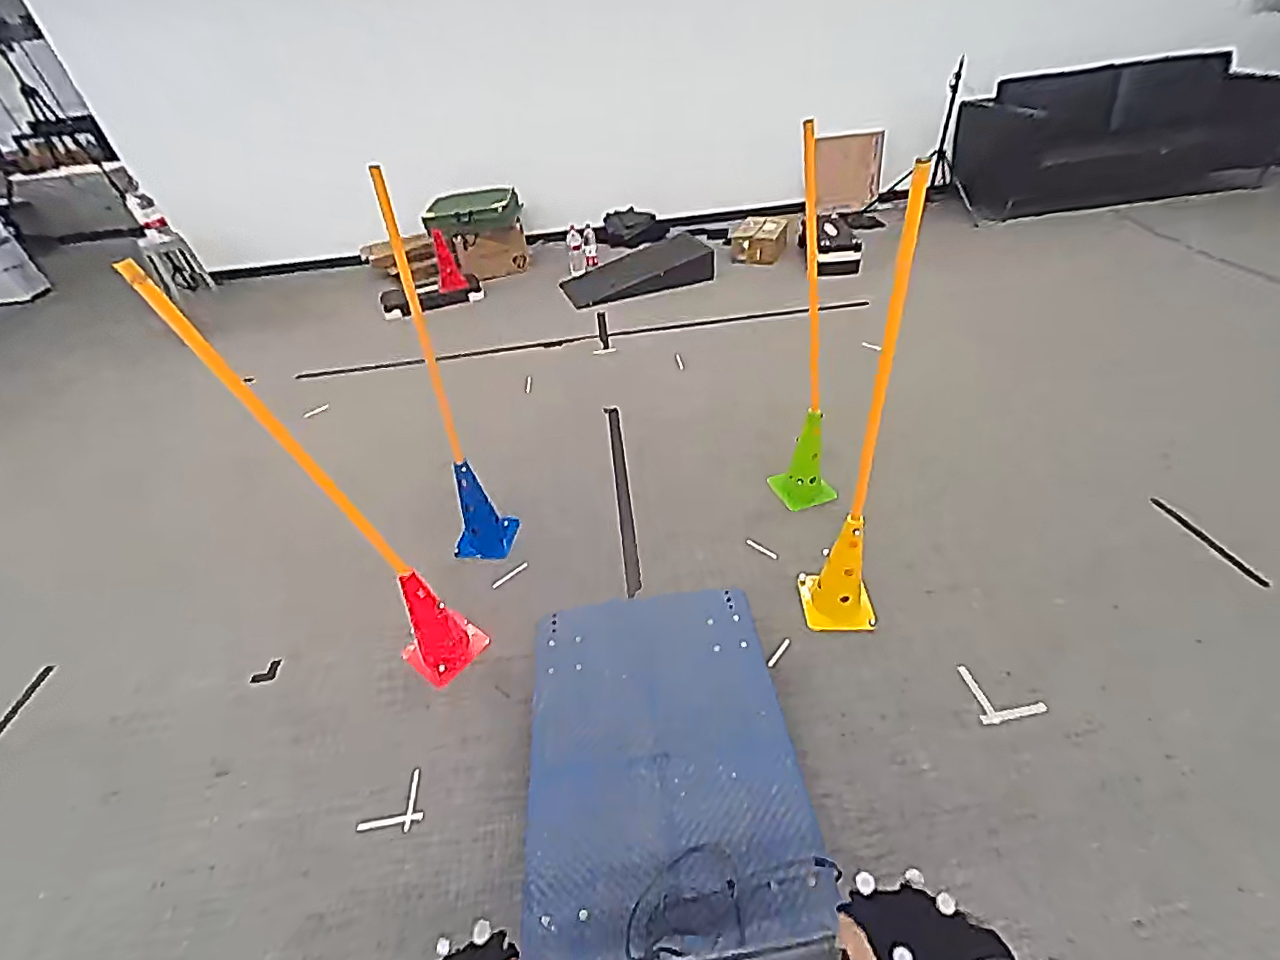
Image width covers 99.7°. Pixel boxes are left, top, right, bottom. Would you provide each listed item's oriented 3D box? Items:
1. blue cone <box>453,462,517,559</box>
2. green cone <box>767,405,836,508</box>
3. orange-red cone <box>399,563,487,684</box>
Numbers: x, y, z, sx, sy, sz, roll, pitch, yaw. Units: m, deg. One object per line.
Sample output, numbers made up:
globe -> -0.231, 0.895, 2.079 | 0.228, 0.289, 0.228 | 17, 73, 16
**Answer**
blue cone -> -0.566, 0.085, 1.855 | 0.193, 0.380, 0.192 | 2, 42, 9
green cone -> 0.597, -0.109, 1.926 | 0.200, 0.368, 0.202 | -17, 43, -13
orange-red cone -> -0.595, 0.363, 1.510 | 0.198, 0.360, 0.199 | 26, 48, 30
